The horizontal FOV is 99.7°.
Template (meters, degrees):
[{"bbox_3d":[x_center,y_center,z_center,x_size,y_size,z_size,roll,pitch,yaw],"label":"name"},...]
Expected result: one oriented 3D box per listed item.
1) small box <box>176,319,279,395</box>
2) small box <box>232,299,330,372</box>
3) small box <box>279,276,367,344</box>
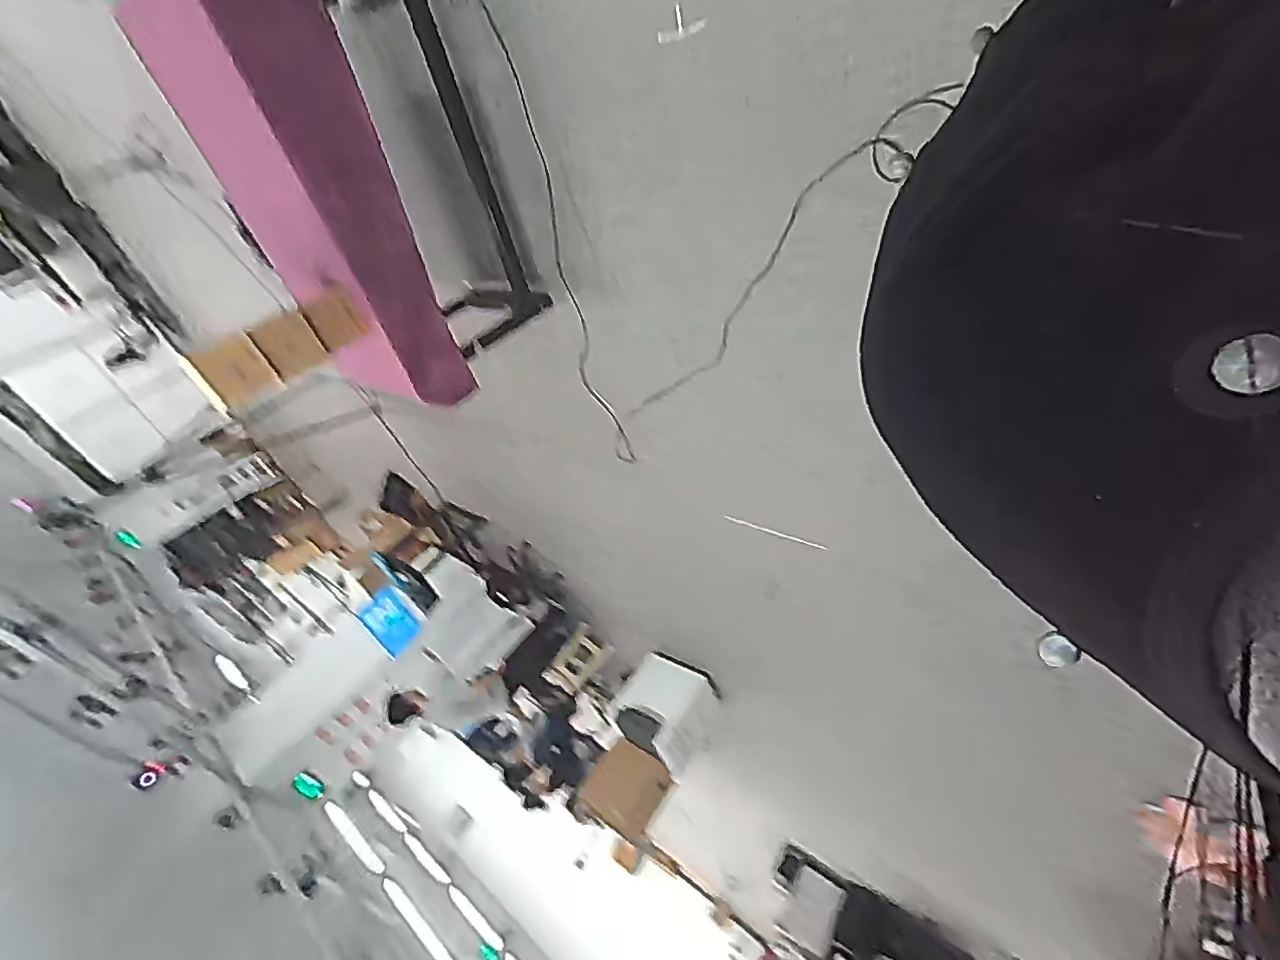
[{"bbox_3d":[-1.215,-0.365,1.603,0.179,0.176,0.168,9,133,44],"label":"small box"},{"bbox_3d":[-1.124,-0.459,1.700,0.168,0.176,0.179,12,136,41],"label":"small box"},{"bbox_3d":[-1.047,-0.565,1.801,0.179,0.176,0.168,13,136,41],"label":"small box"}]
